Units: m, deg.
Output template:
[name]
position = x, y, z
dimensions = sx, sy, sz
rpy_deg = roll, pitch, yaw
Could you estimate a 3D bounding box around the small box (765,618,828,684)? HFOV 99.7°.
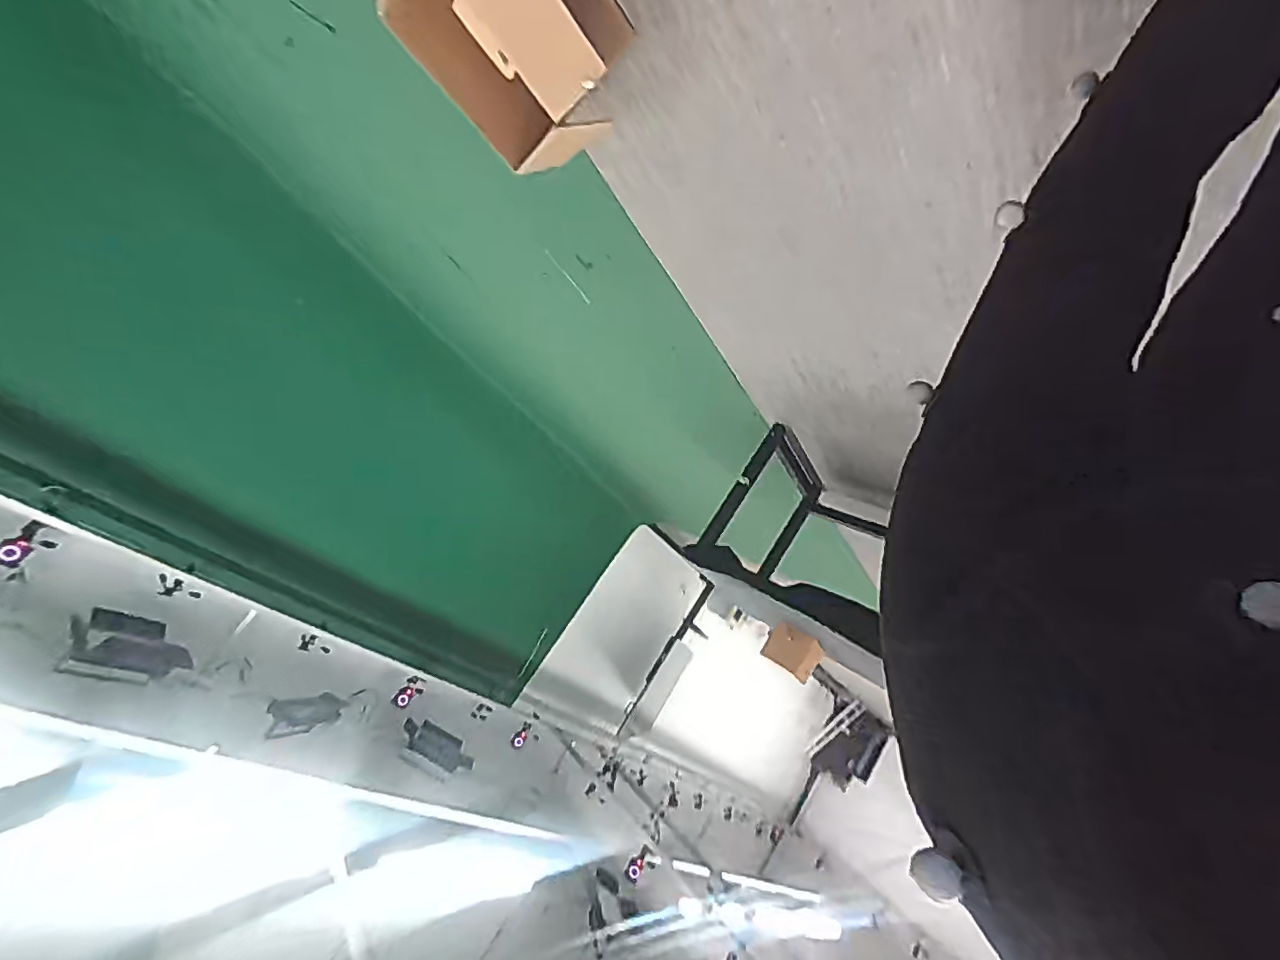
[small box]
position = 0.642, 0.692, 2.196
dimensions = 0.168, 0.176, 0.179
rpy_deg = 25, 164, 41
